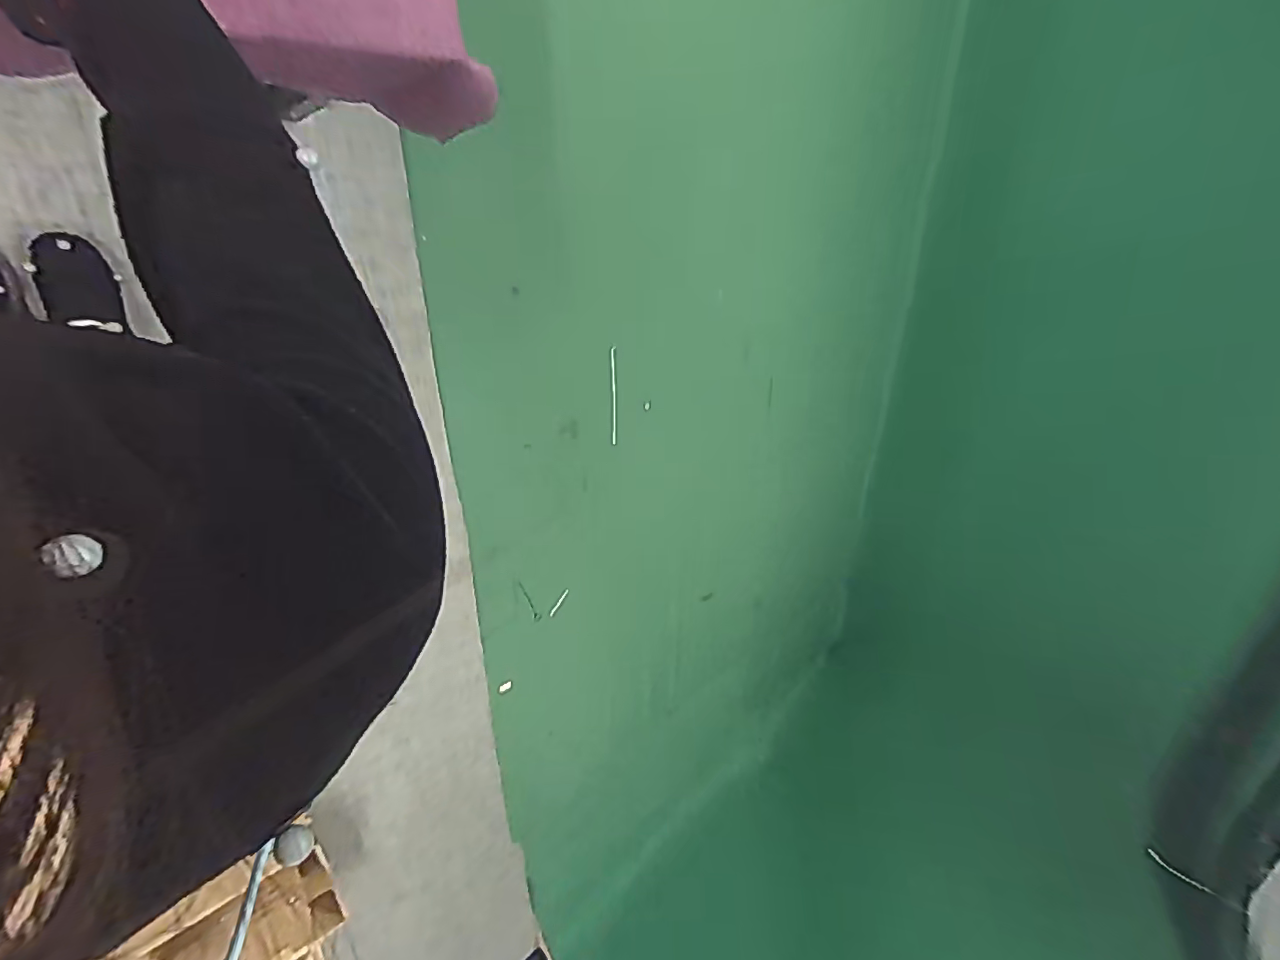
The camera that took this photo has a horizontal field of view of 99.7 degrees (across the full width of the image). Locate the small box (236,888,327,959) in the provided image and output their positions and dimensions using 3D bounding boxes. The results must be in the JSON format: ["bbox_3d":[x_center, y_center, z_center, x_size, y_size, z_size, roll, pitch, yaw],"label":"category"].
[{"bbox_3d":[-0.949,1.241,1.434,0.168,0.176,0.179,-14,119,-41],"label":"small box"}]
